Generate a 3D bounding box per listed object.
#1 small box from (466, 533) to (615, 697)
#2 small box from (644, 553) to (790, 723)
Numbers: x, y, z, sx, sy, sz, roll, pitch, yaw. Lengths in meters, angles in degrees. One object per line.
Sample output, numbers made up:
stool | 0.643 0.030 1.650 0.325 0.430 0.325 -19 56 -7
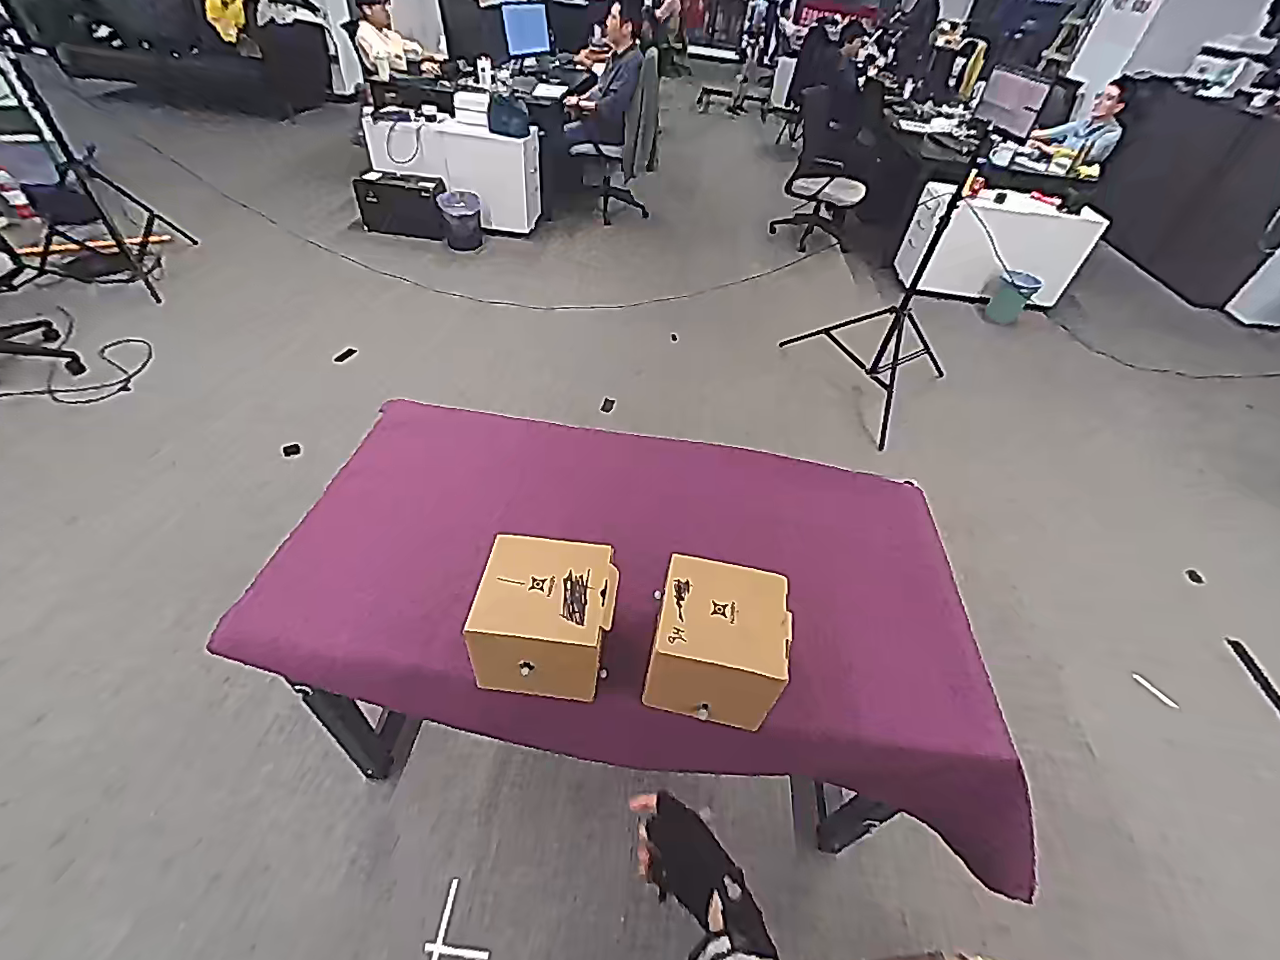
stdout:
small box | -0.137 0.204 0.805 0.179 0.176 0.168 7 43 1
small box | 0.112 0.238 0.805 0.179 0.176 0.168 12 44 4
